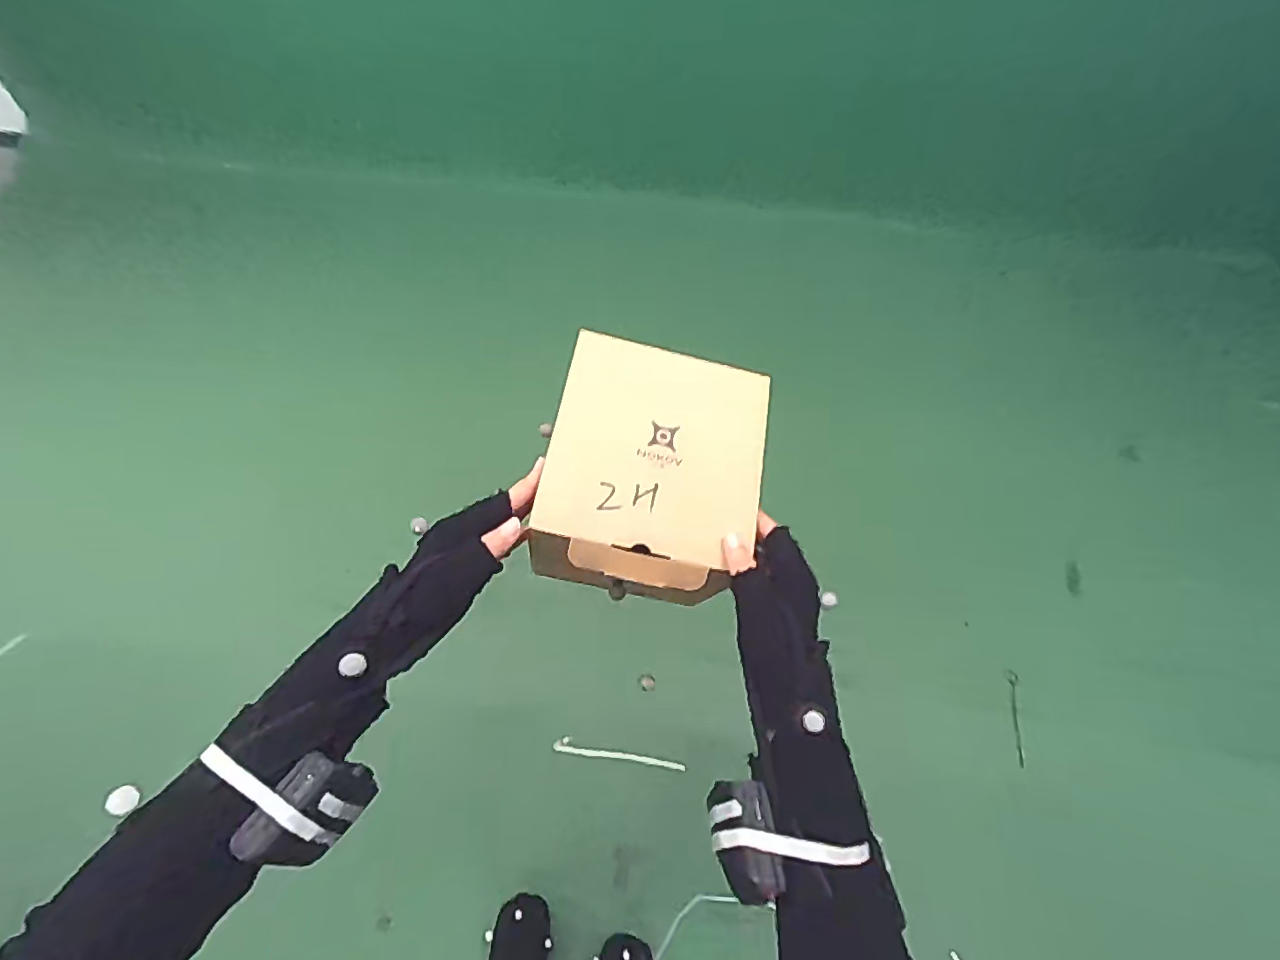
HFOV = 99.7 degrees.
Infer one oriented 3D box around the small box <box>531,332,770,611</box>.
[{"bbox_3d":[0.003,0.004,0.485,0.168,0.176,0.179,13,66,-4],"label":"small box"}]
